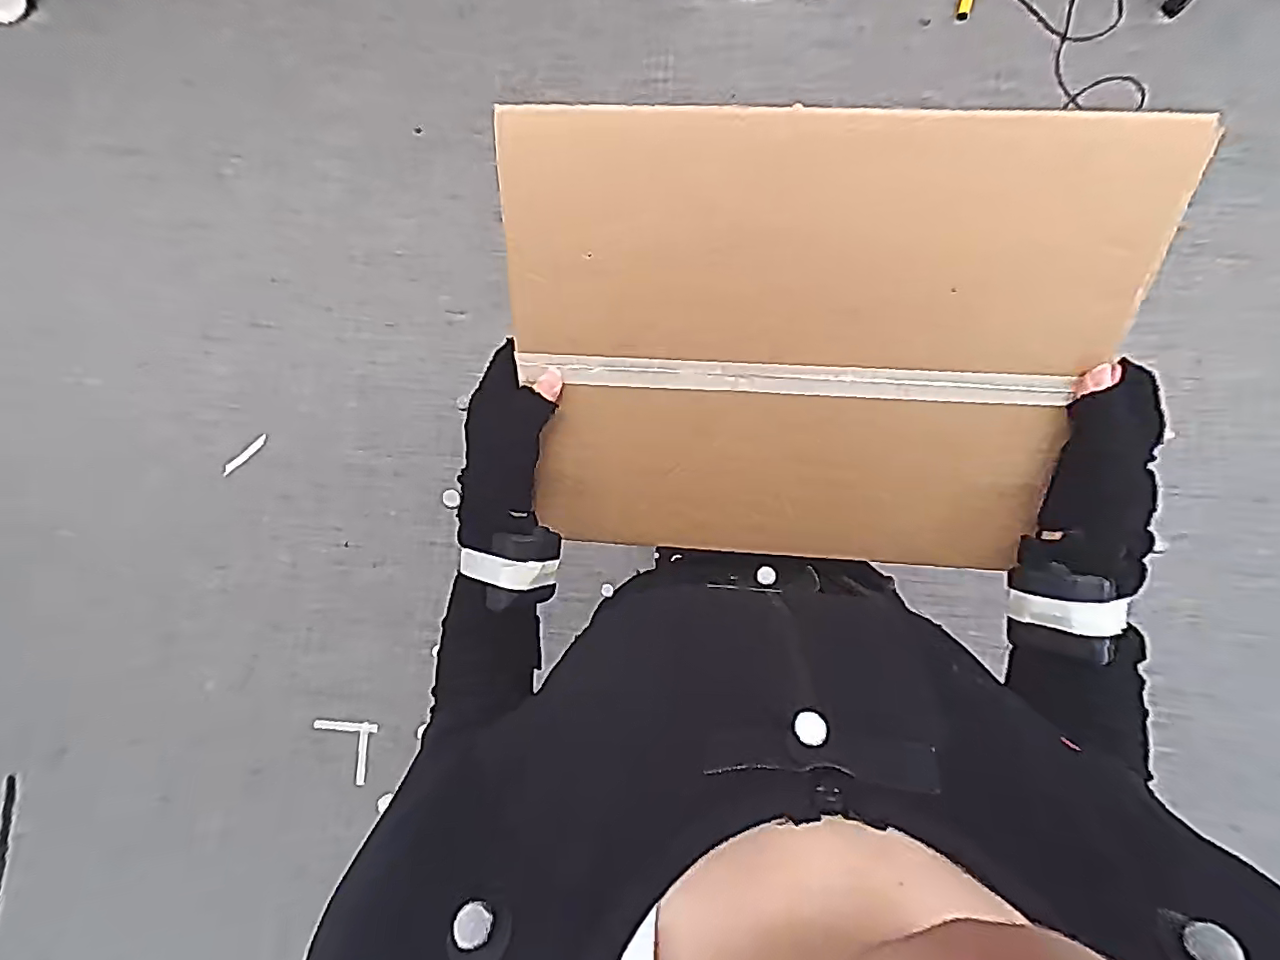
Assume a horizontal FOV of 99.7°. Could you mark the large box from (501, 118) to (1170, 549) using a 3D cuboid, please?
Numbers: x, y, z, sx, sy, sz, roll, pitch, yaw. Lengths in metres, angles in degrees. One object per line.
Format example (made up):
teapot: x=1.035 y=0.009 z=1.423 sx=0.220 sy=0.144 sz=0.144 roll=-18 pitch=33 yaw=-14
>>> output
large box: x=0.123 y=-0.156 z=0.527 sx=0.408 sy=0.320 sz=0.320 roll=3 pitch=120 yaw=4
